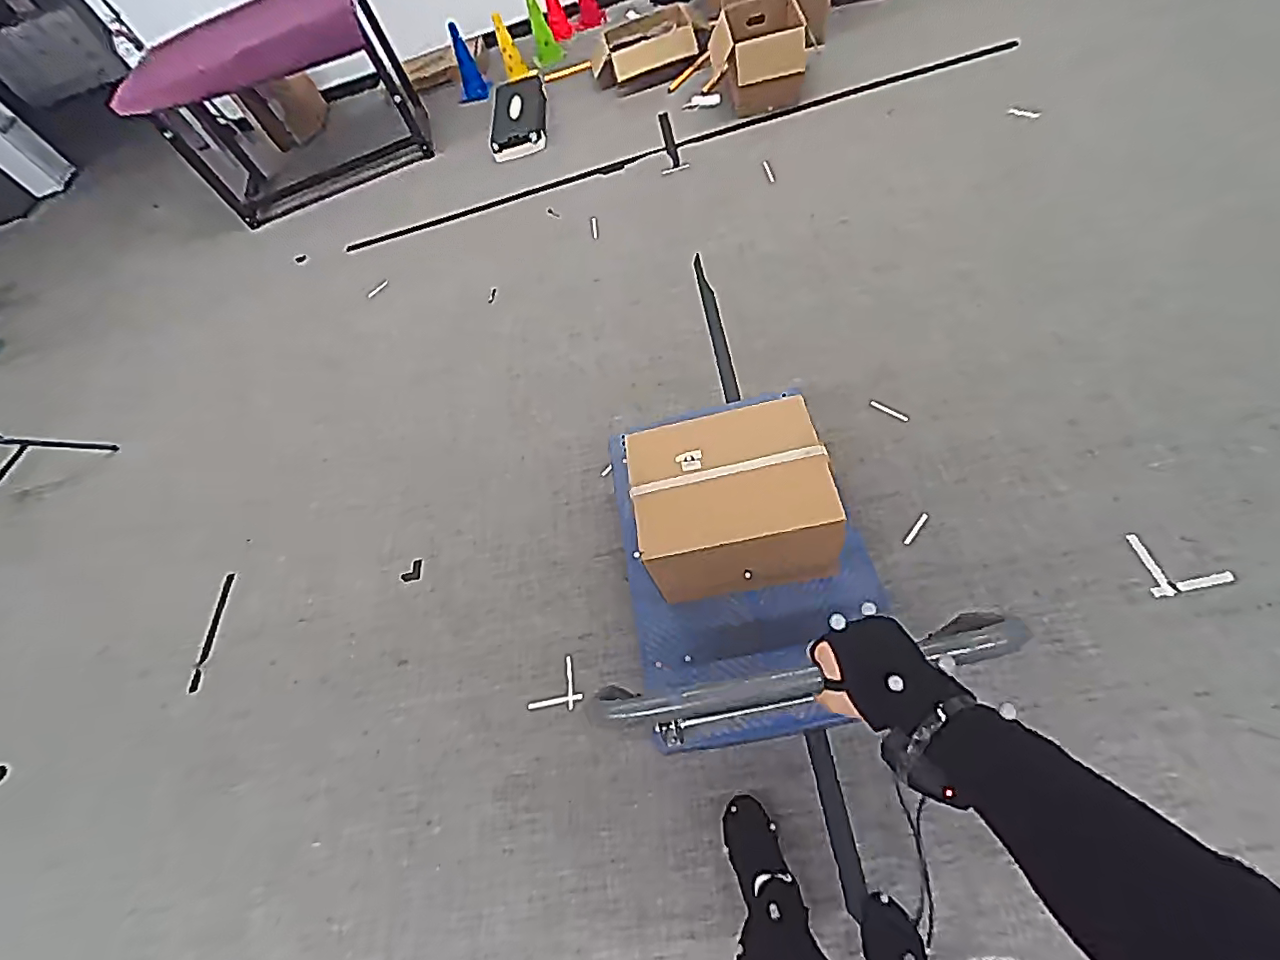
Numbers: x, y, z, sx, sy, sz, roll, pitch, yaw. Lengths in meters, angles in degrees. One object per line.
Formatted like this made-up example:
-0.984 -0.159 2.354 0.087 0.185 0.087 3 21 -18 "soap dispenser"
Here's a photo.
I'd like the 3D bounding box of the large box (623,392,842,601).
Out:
0.207 0.055 1.242 0.408 0.320 0.320 -14 57 8 "large box"
